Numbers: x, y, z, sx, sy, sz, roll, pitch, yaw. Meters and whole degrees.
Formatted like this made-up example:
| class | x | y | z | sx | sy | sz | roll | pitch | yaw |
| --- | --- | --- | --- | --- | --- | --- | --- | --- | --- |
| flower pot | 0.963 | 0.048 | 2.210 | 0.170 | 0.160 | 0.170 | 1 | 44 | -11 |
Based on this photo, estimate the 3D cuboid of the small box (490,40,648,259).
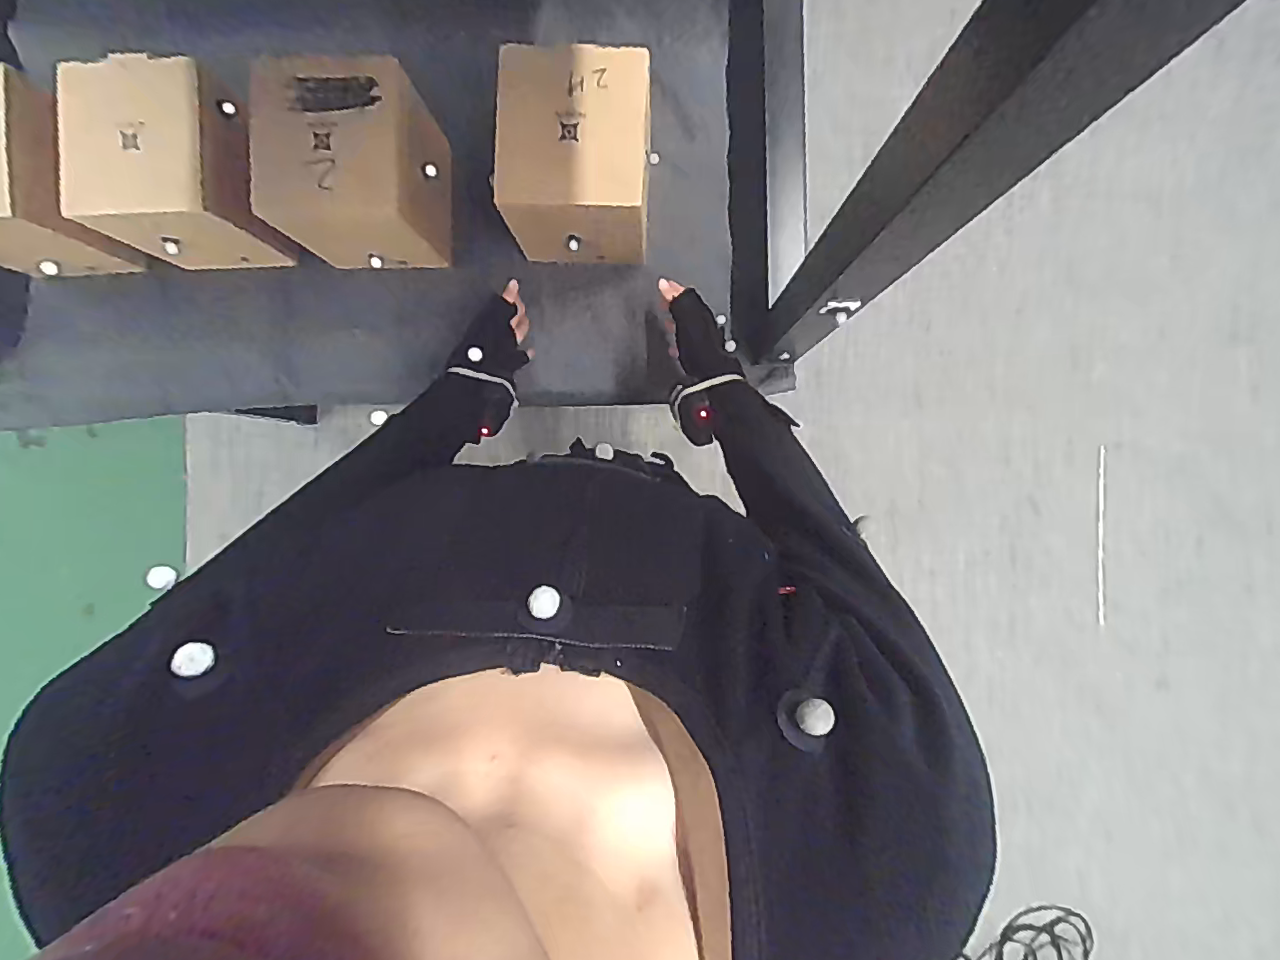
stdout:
| class | x | y | z | sx | sy | sz | roll | pitch | yaw |
| --- | --- | --- | --- | --- | --- | --- | --- | --- | --- |
| small box | -0.077 | -0.390 | 0.669 | 0.168 | 0.176 | 0.179 | 3 | 90 | 1 |

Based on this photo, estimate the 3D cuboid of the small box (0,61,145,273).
| class | x | y | z | sx | sy | sz | roll | pitch | yaw |
| --- | --- | --- | --- | --- | --- | --- | --- | --- | --- |
| small box | -0.786 | -0.384 | 0.690 | 0.168 | 0.176 | 0.179 | -2 | 91 | 2 |
